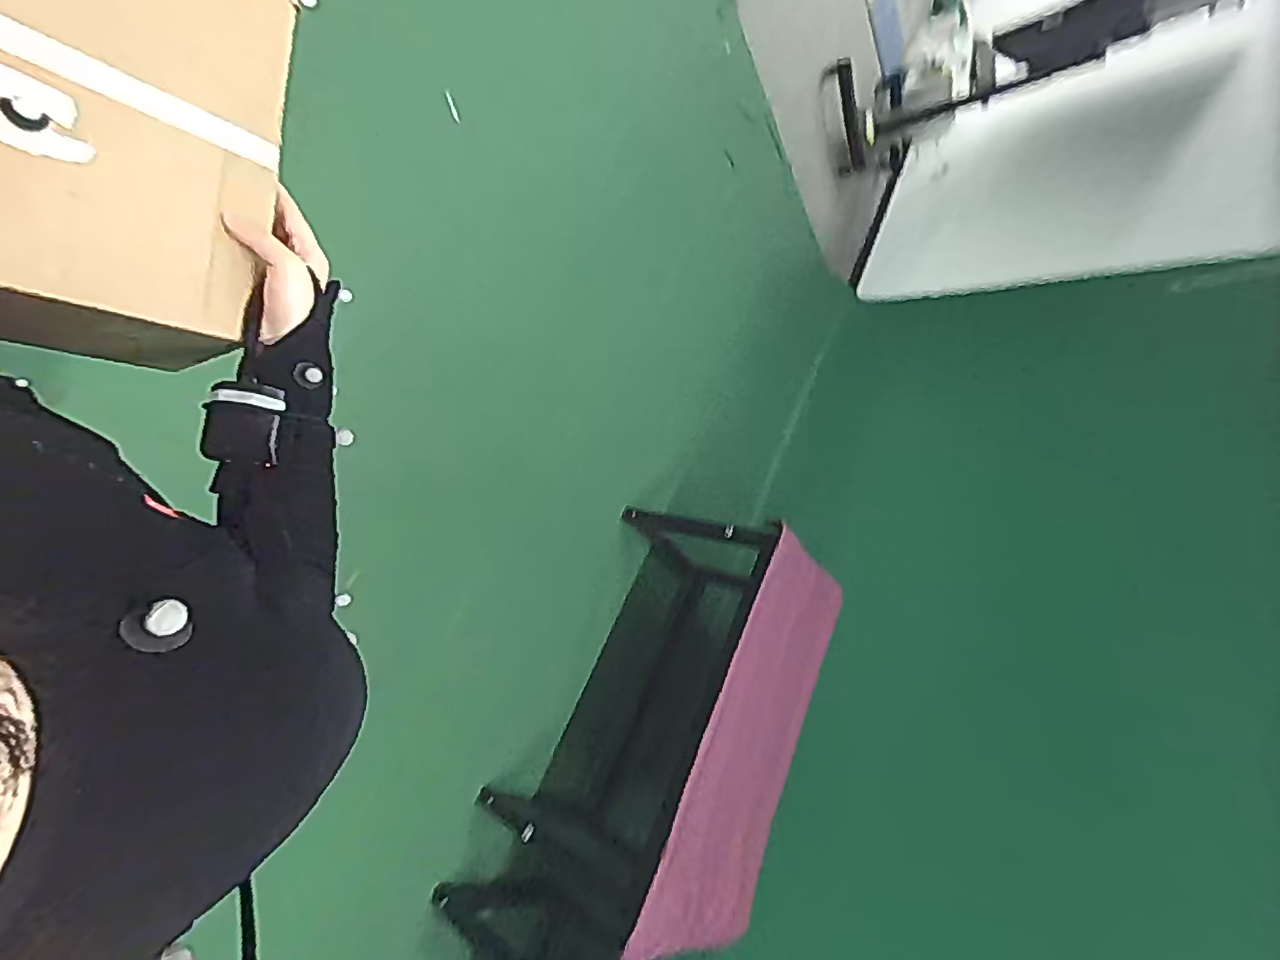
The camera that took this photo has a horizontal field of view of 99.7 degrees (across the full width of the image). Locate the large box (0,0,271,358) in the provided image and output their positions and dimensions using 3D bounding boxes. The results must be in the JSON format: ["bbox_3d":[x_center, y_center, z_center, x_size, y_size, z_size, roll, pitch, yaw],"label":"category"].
[{"bbox_3d":[-0.561,-0.295,0.394,0.408,0.320,0.320,6,89,-51],"label":"large box"}]
